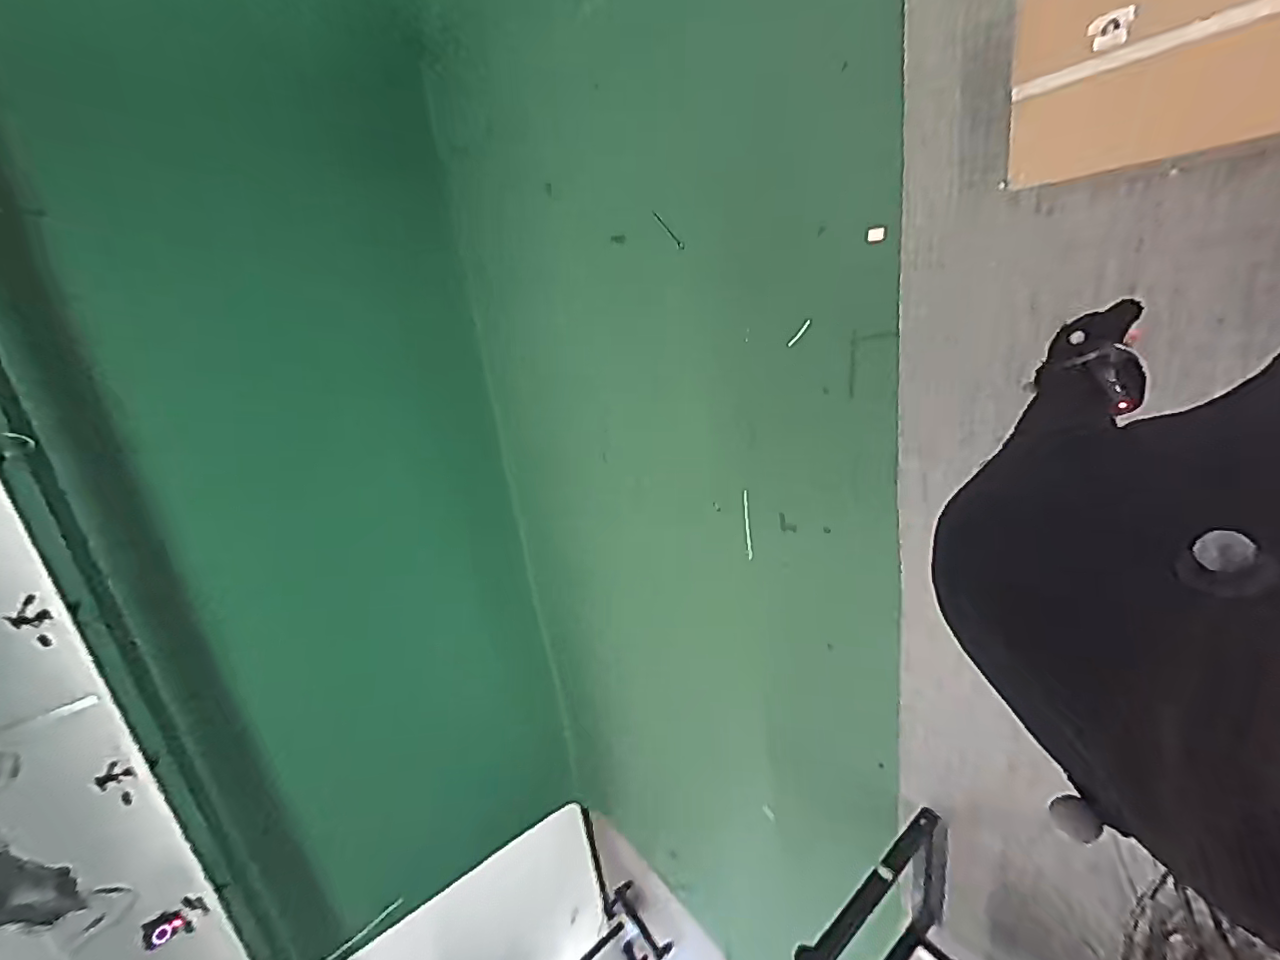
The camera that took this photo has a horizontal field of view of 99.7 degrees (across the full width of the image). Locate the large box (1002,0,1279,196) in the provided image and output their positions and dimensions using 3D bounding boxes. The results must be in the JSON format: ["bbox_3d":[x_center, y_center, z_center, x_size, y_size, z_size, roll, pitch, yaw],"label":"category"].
[{"bbox_3d":[0.898,-0.690,0.897,0.408,0.320,0.320,16,119,52],"label":"large box"}]
